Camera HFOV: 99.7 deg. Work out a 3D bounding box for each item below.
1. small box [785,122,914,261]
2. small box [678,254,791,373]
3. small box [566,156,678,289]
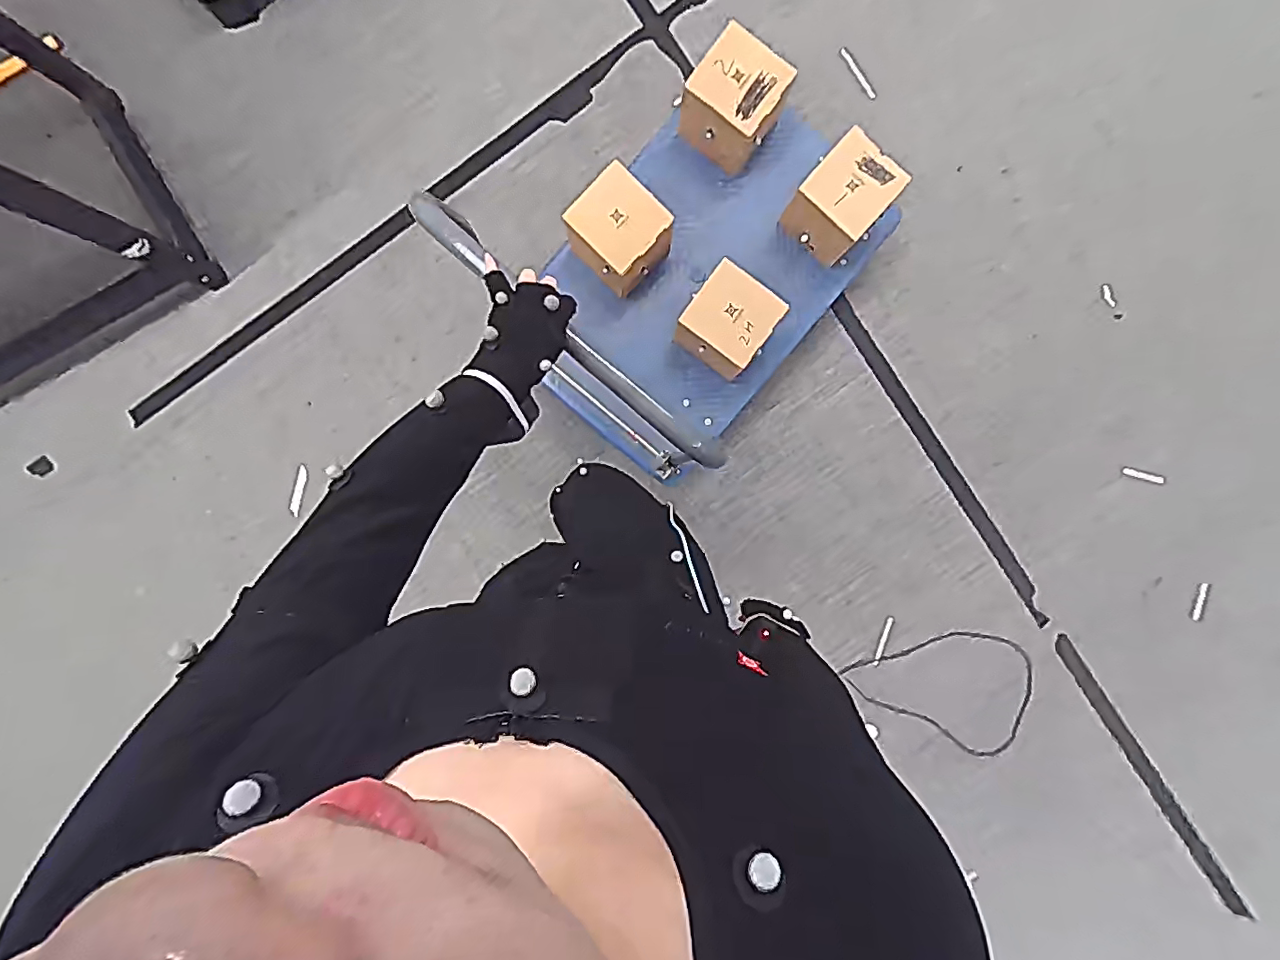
[{"bbox_3d":[0.449,-0.623,1.192,0.168,0.176,0.179,42,93,-2],"label":"small box"},{"bbox_3d":[0.198,-0.358,1.203,0.179,0.176,0.168,37,92,-2],"label":"small box"},{"bbox_3d":[-0.041,-0.554,1.193,0.179,0.176,0.168,44,91,-4],"label":"small box"}]
